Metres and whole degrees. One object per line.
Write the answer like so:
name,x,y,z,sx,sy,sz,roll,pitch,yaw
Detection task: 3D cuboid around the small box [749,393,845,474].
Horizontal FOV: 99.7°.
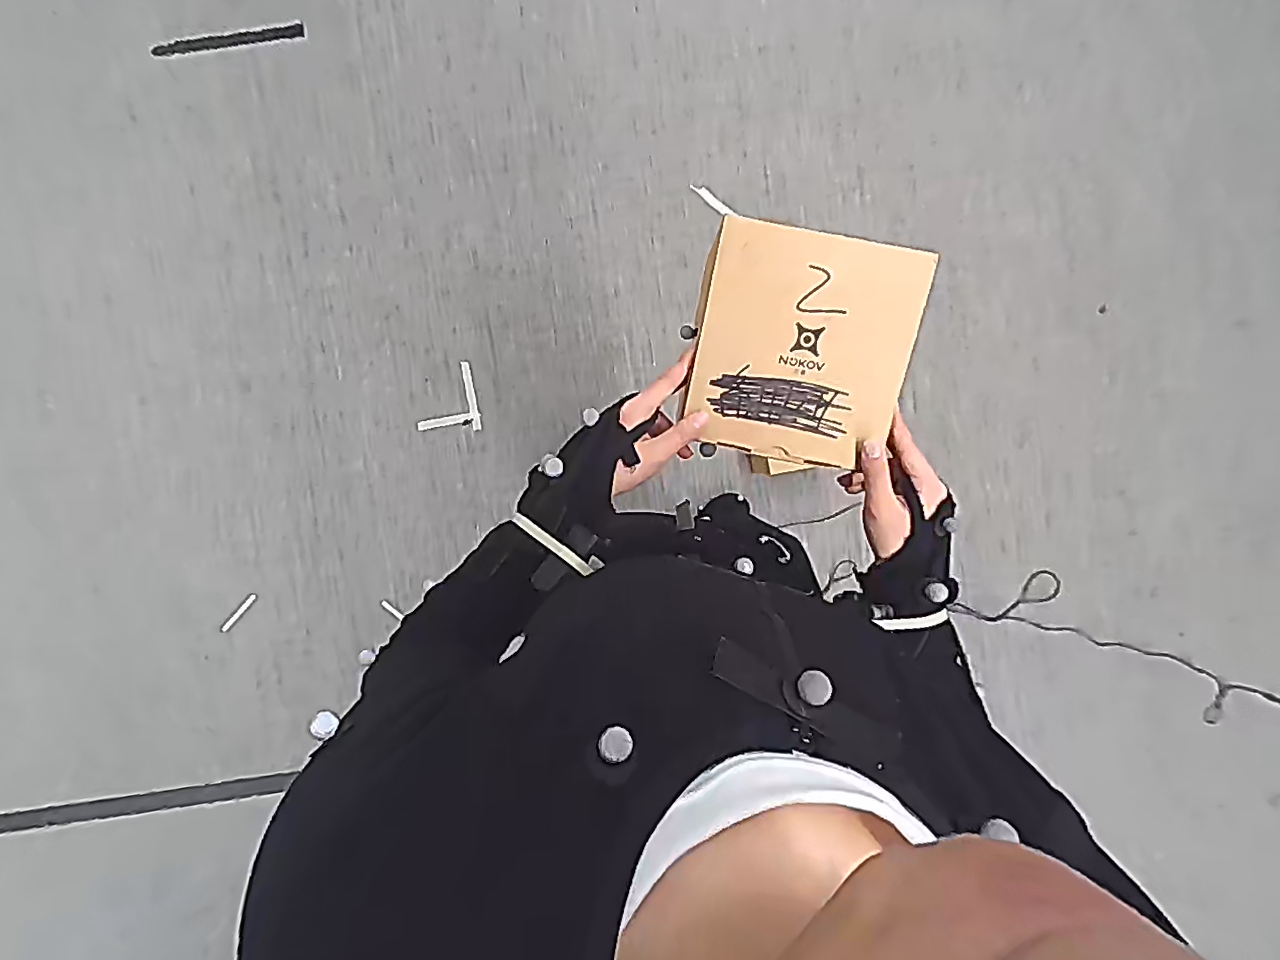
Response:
small box,0.369,-0.107,1.308,0.179,0.176,0.168,-10,92,-1
